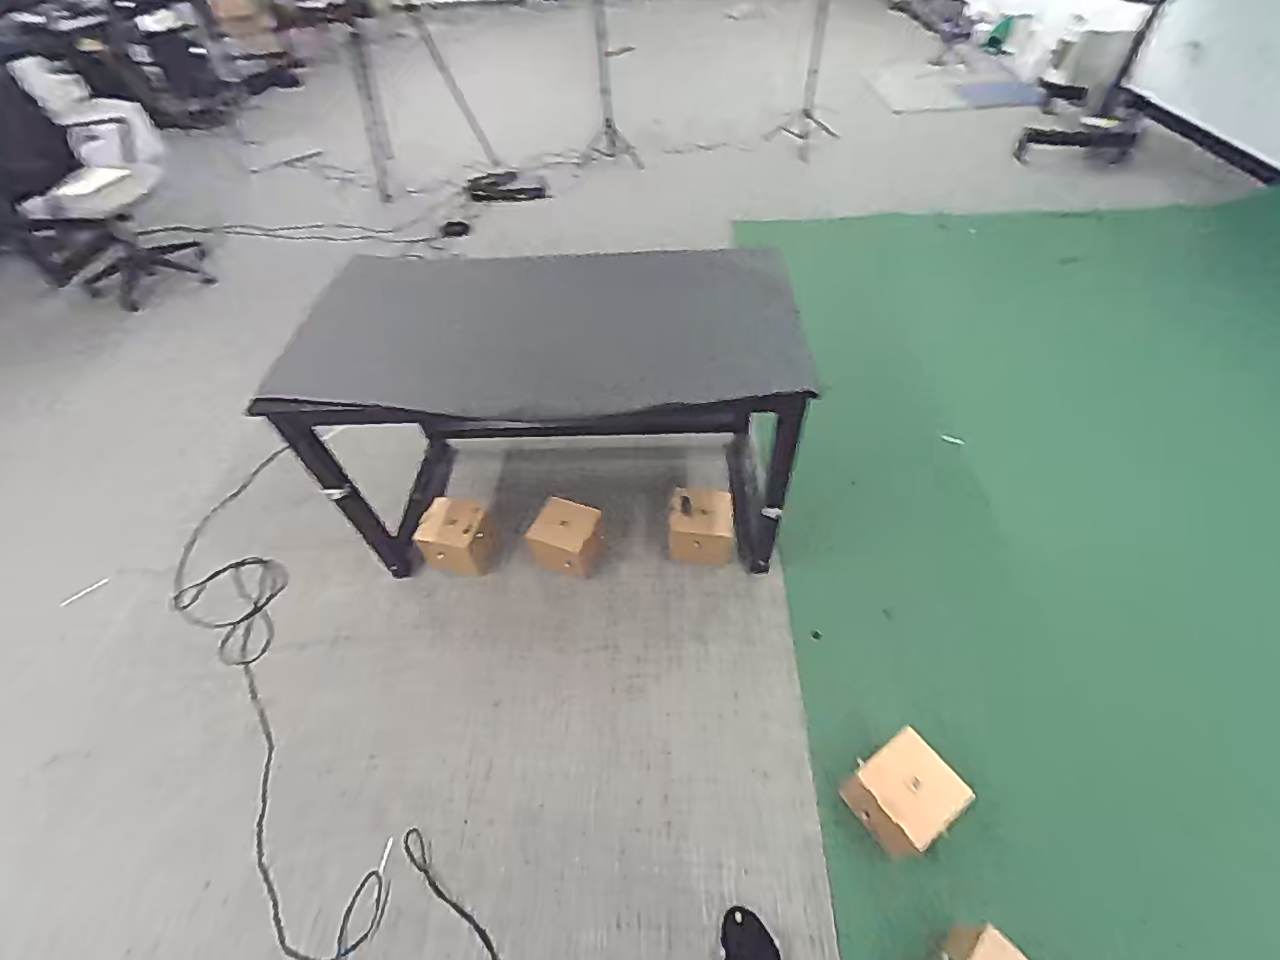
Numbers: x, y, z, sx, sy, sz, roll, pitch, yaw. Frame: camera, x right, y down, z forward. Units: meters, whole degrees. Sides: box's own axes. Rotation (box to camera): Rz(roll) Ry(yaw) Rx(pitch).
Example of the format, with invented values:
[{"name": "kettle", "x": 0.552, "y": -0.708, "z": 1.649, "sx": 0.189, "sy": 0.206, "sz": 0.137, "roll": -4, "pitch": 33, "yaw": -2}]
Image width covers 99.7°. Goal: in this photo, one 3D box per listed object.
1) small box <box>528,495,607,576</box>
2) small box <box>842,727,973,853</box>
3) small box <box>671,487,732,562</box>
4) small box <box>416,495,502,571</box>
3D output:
[{"name": "small box", "x": -0.215, "y": 0.176, "z": 1.673, "sx": 0.179, "sy": 0.176, "sz": 0.168, "roll": 14, "pitch": 52, "yaw": 17}, {"name": "small box", "x": 0.578, "y": 0.686, "z": 1.194, "sx": 0.179, "sy": 0.176, "sz": 0.168, "roll": -29, "pitch": 55, "yaw": -18}, {"name": "small box", "x": 0.190, "y": 0.141, "z": 1.671, "sx": 0.179, "sy": 0.176, "sz": 0.168, "roll": 4, "pitch": 51, "yaw": 6}, {"name": "small box", "x": -0.561, "y": 0.170, "z": 1.703, "sx": 0.179, "sy": 0.176, "sz": 0.168, "roll": 8, "pitch": 52, "yaw": 12}]
